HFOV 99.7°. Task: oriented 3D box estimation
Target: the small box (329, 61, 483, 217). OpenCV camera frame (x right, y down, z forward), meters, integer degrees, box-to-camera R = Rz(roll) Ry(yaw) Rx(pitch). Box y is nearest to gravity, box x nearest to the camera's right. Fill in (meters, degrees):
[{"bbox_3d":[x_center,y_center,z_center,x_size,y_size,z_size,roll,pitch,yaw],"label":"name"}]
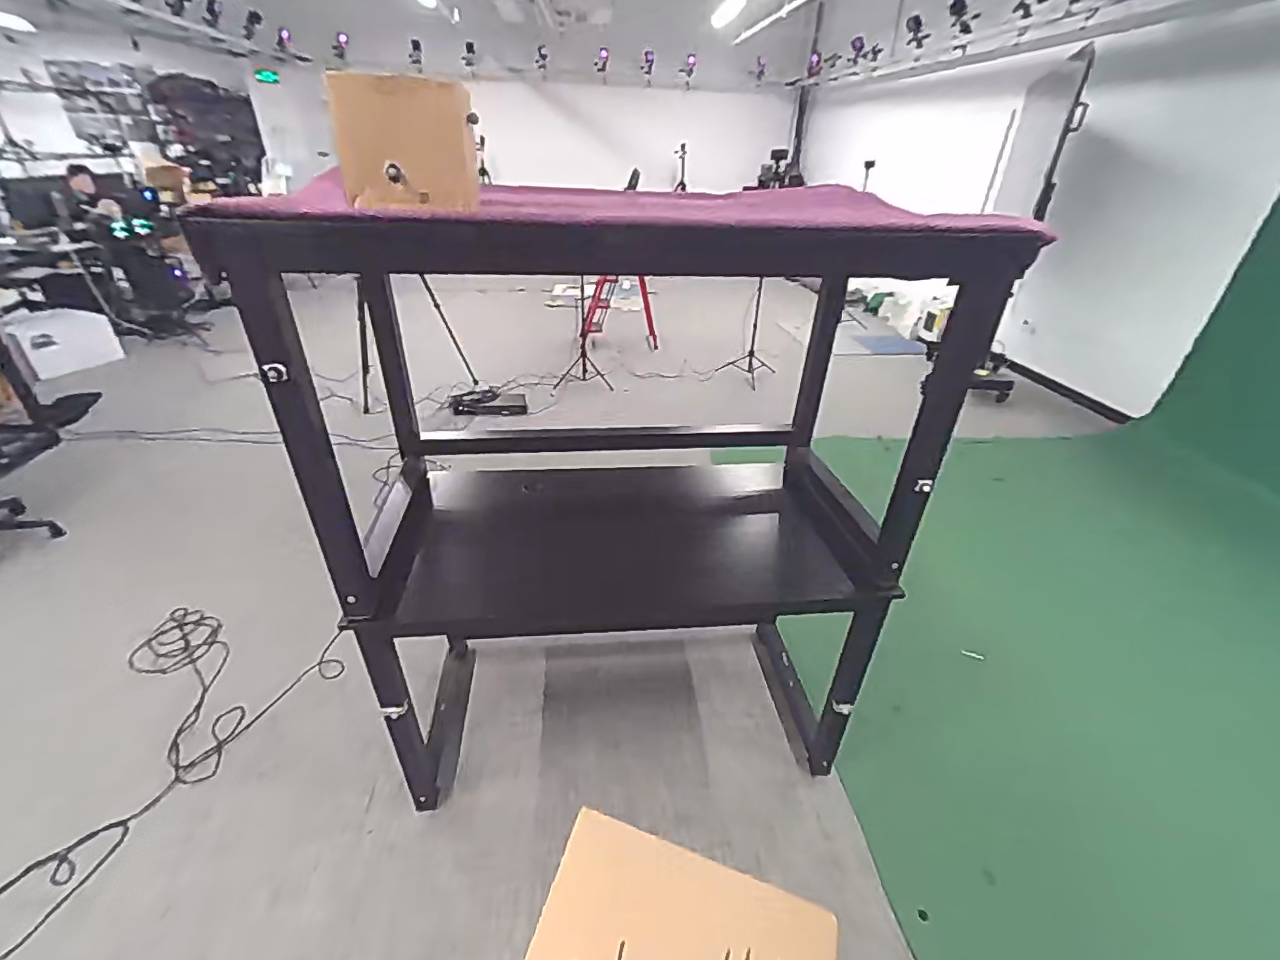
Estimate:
[{"bbox_3d":[-0.329,-0.492,0.799,0.168,0.176,0.179,-3,30,-10],"label":"small box"}]
